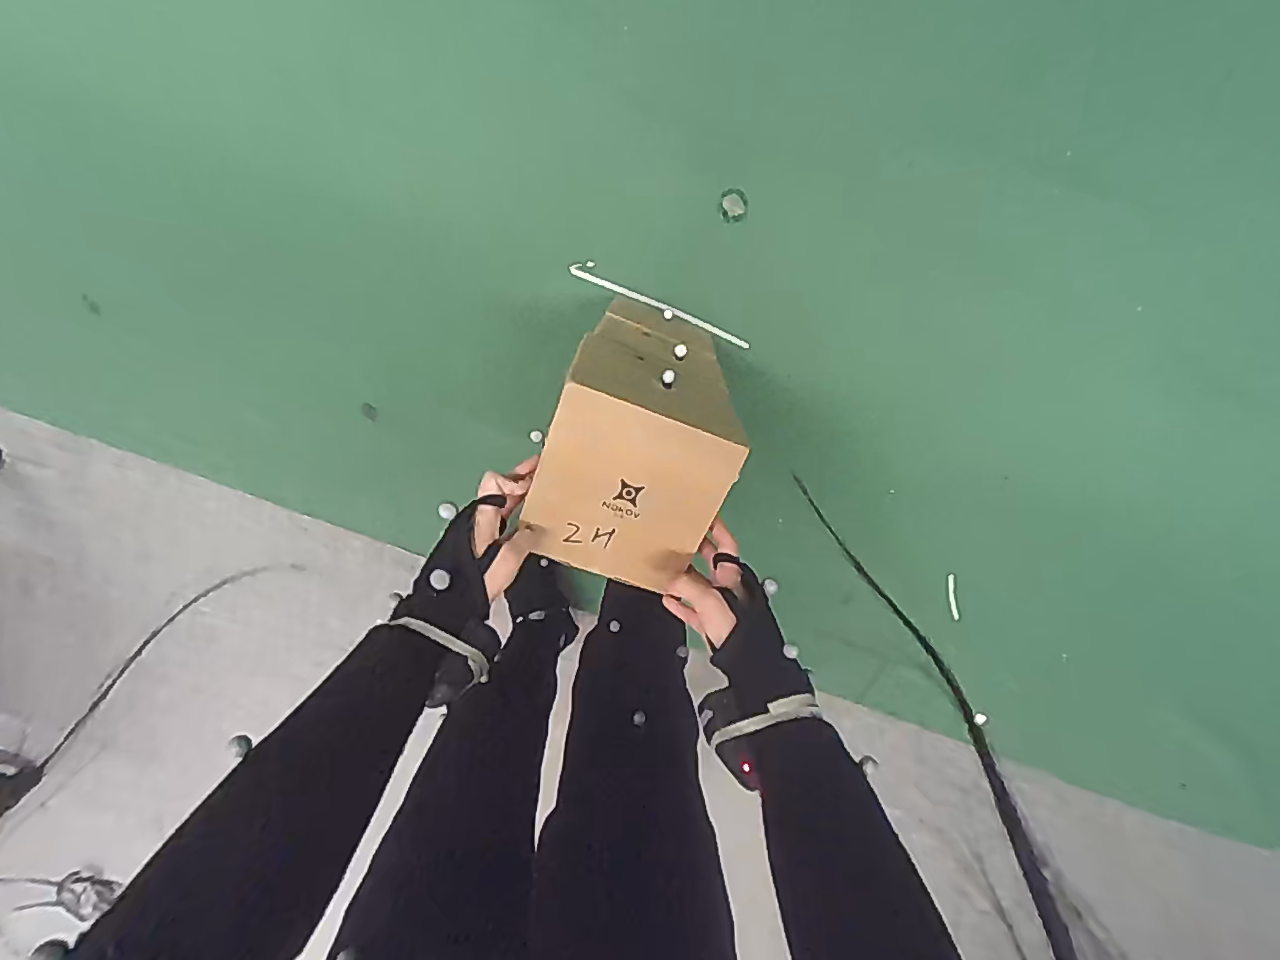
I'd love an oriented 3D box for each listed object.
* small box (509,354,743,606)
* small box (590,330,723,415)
[{"bbox_3d":[-0.017,-0.009,0.557,0.168,0.176,0.179,20,116,-9],"label":"small box"},{"bbox_3d":[-0.008,-0.079,0.709,0.168,0.176,0.179,19,116,-7],"label":"small box"}]
